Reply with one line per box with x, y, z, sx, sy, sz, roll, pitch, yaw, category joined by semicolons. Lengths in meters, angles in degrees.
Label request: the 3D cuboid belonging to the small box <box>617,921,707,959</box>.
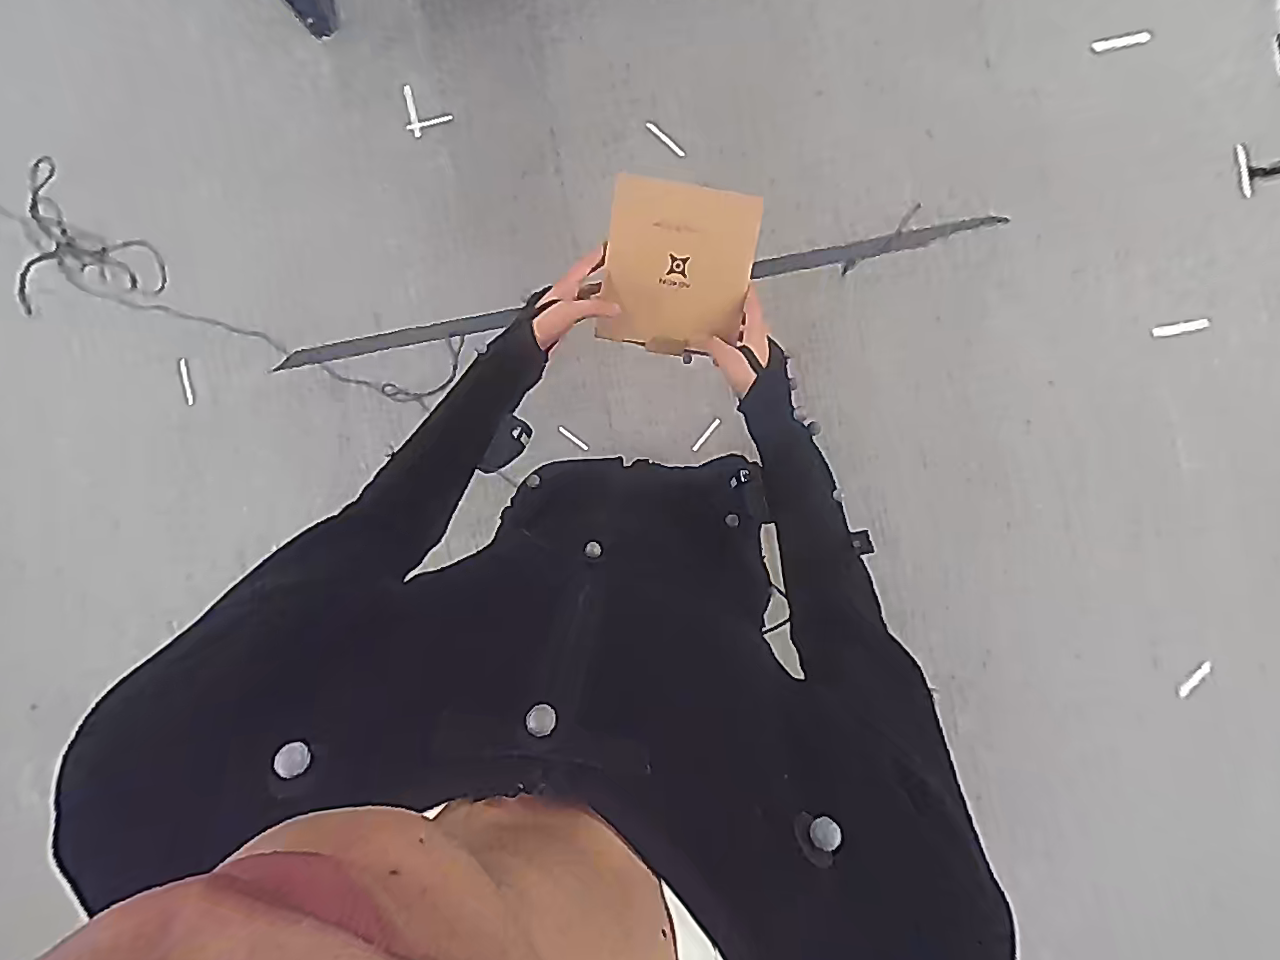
0.048;0.987;1.032;0.168;0.176;0.179;-11;94;5;small box

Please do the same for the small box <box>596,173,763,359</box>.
0.041;-0.256;0.678;0.168;0.176;0.179;7;106;-4;small box
